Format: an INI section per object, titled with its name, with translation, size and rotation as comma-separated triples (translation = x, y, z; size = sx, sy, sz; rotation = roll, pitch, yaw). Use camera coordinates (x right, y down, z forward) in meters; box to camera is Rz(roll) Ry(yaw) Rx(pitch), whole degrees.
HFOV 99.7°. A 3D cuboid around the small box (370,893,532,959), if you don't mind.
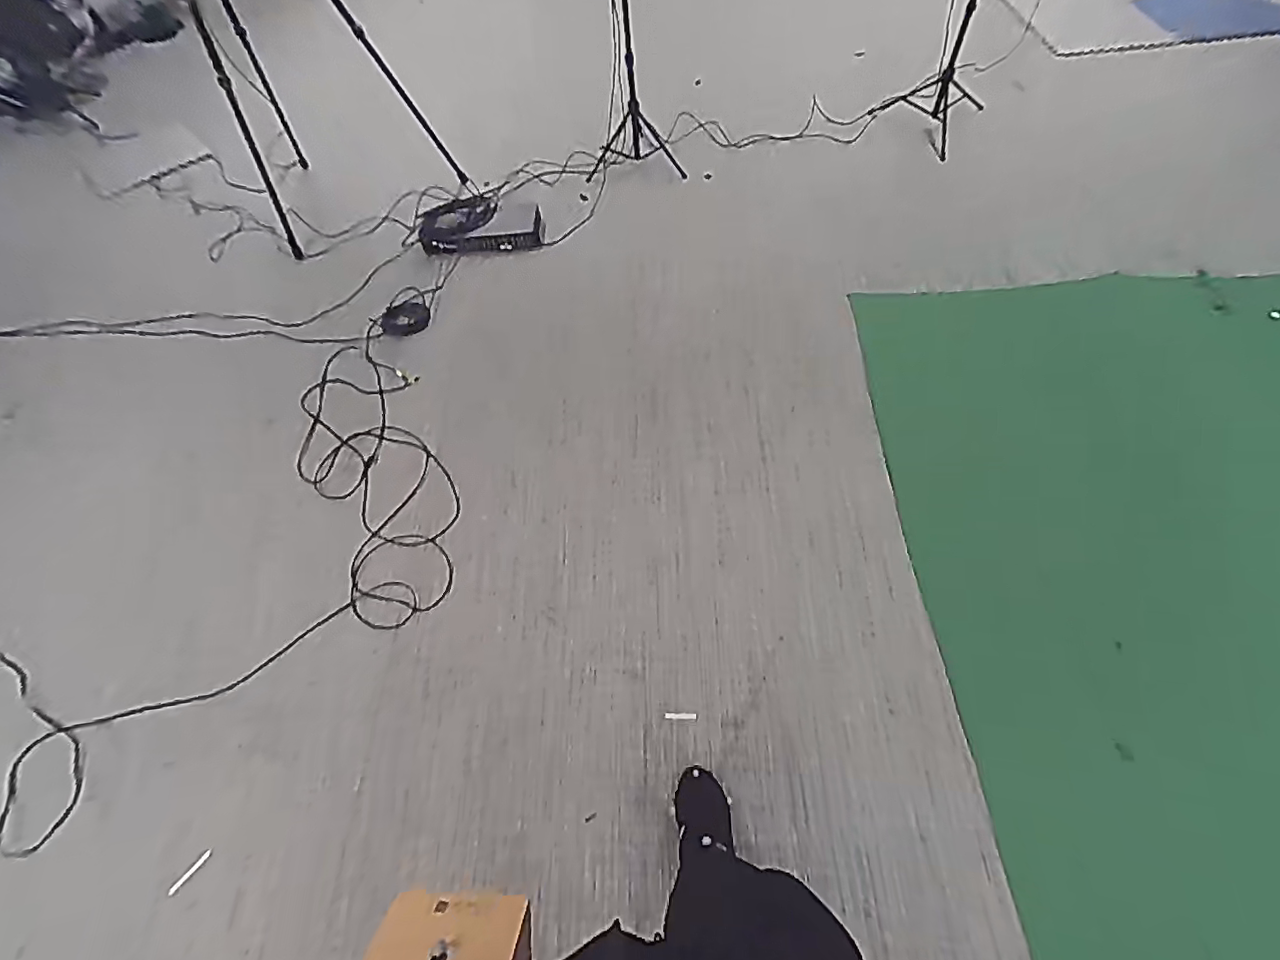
[small box]
translation = -0.219, 0.605, 0.605
size = 0.168, 0.176, 0.179
rotation = -1, 99, 1
